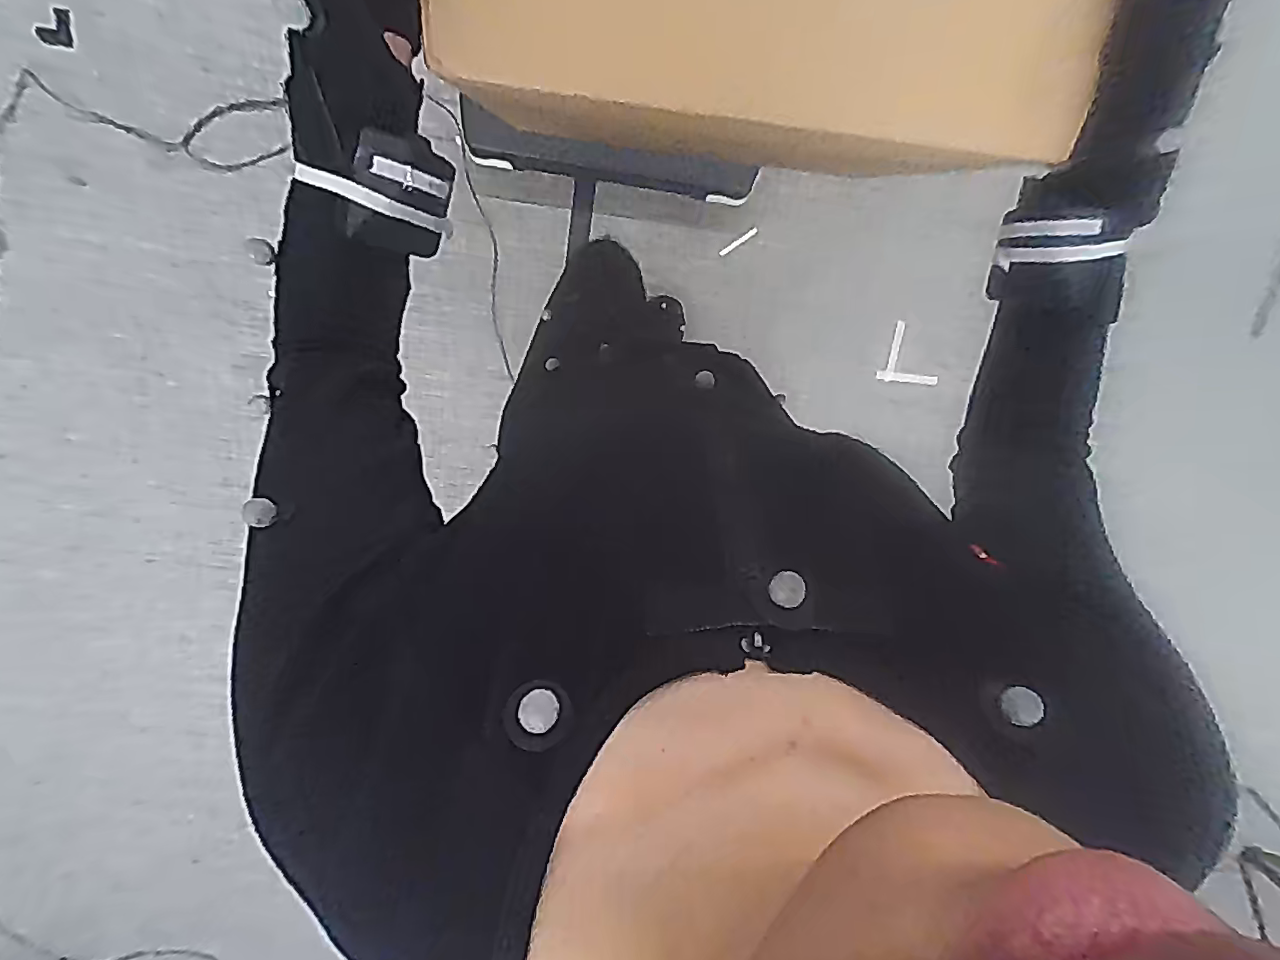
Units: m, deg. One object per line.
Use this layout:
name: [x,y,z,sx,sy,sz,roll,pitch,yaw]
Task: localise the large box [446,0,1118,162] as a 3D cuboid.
large box: [0.086,-0.440,0.399,0.408,0.320,0.320,4,118,-6]
